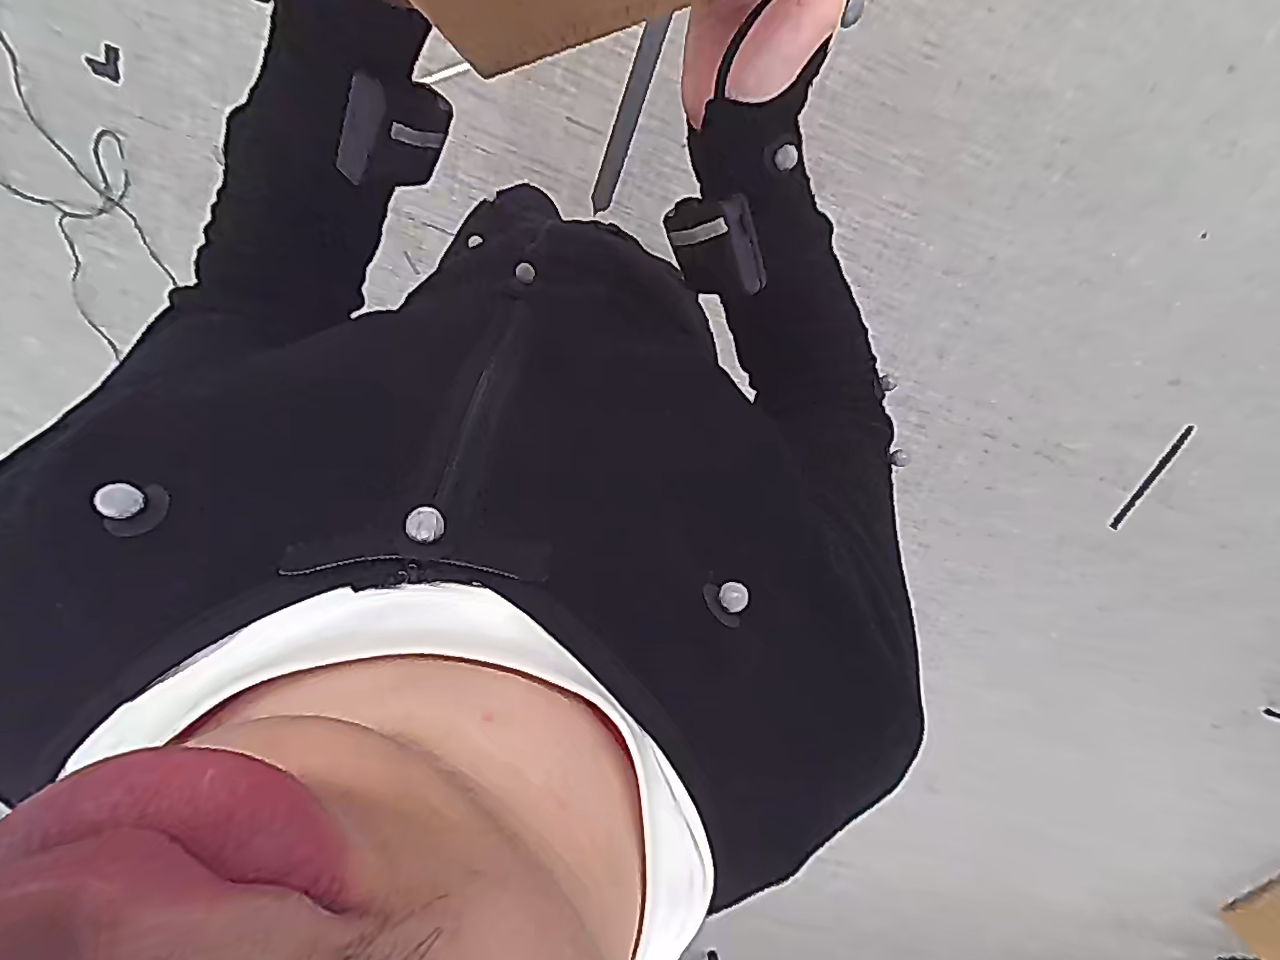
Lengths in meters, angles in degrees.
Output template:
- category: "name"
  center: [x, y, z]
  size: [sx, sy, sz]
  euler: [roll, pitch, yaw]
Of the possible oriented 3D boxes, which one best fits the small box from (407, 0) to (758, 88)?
- category: "small box"
  center: [-0.015, -0.263, 0.172]
  size: [0.179, 0.176, 0.168]
  euler: [-16, 113, 6]
